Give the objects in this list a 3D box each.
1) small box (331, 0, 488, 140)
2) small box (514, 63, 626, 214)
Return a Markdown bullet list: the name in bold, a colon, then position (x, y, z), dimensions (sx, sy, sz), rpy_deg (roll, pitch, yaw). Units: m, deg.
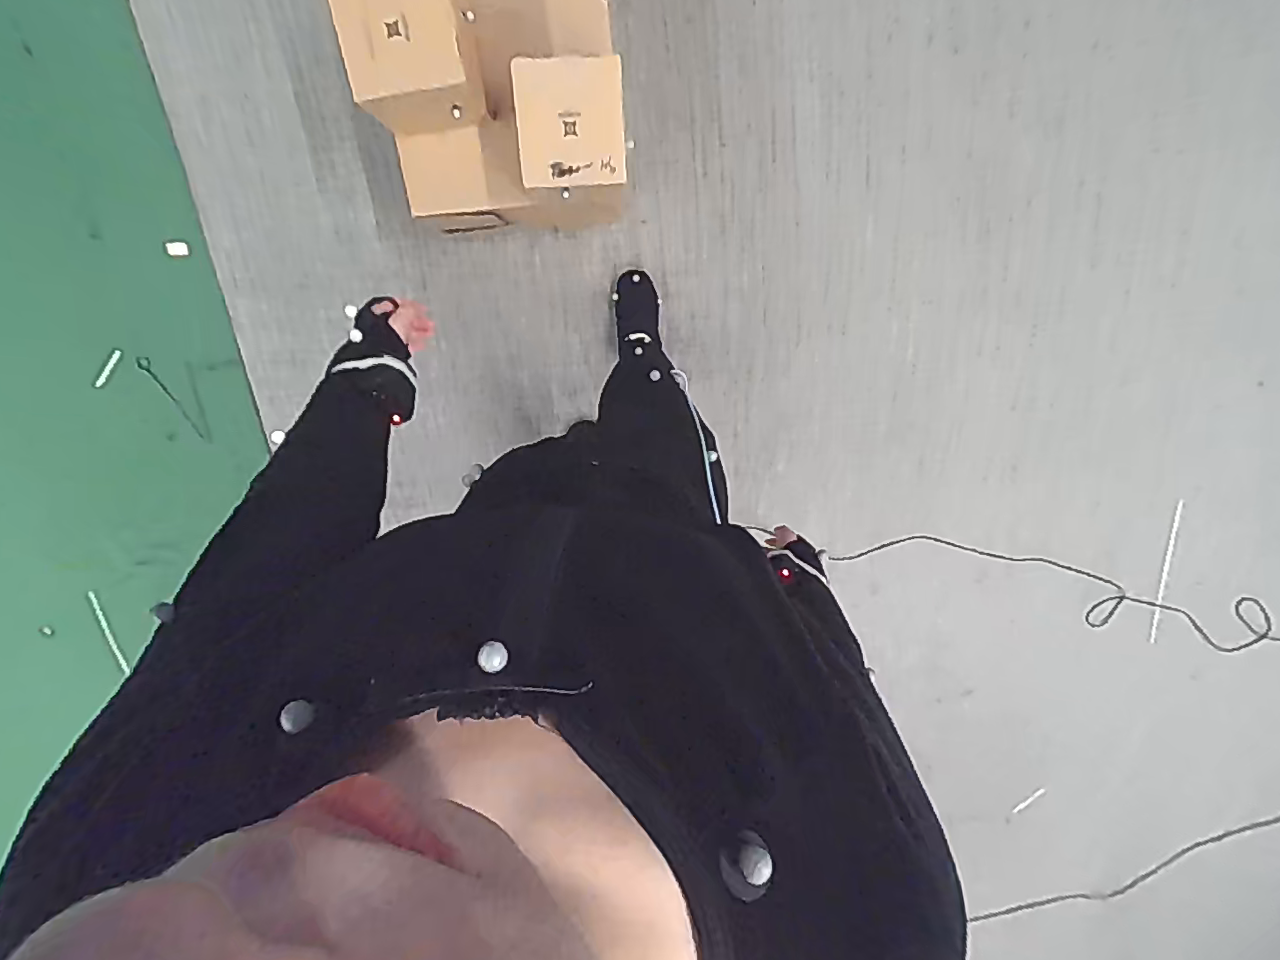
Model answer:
- **small box**: position (-0.356, -0.675, 0.872), dimensions (0.179, 0.176, 0.168), rpy_deg (-8, 105, 2)
- **small box**: position (-0.110, -0.560, 0.908), dimensions (0.168, 0.176, 0.179), rpy_deg (-2, 106, -1)
